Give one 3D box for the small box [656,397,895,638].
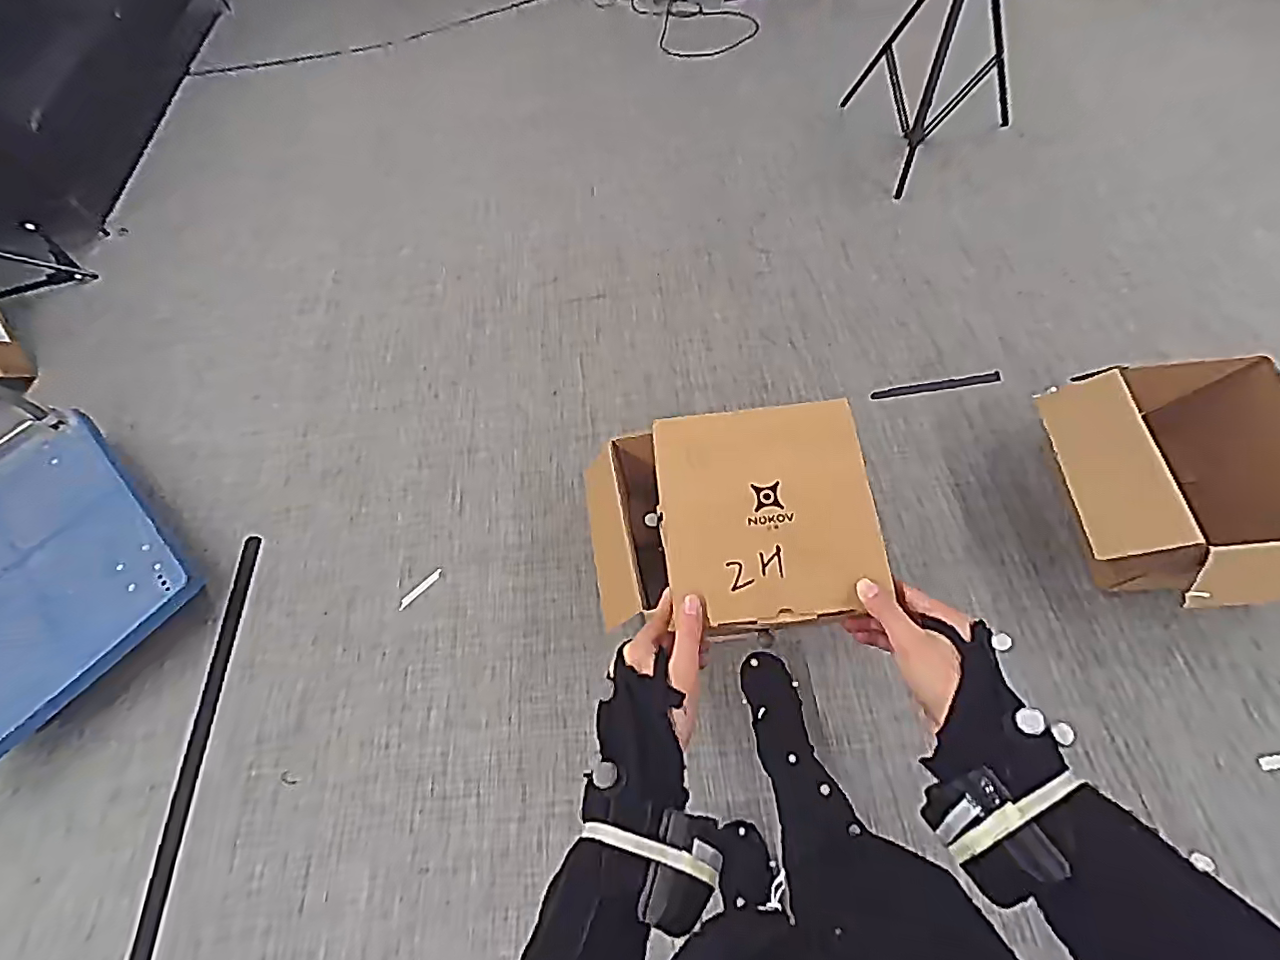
[{"bbox_3d":[0.104,0.045,0.503,0.168,0.176,0.179,-7,70,2],"label":"small box"}]
